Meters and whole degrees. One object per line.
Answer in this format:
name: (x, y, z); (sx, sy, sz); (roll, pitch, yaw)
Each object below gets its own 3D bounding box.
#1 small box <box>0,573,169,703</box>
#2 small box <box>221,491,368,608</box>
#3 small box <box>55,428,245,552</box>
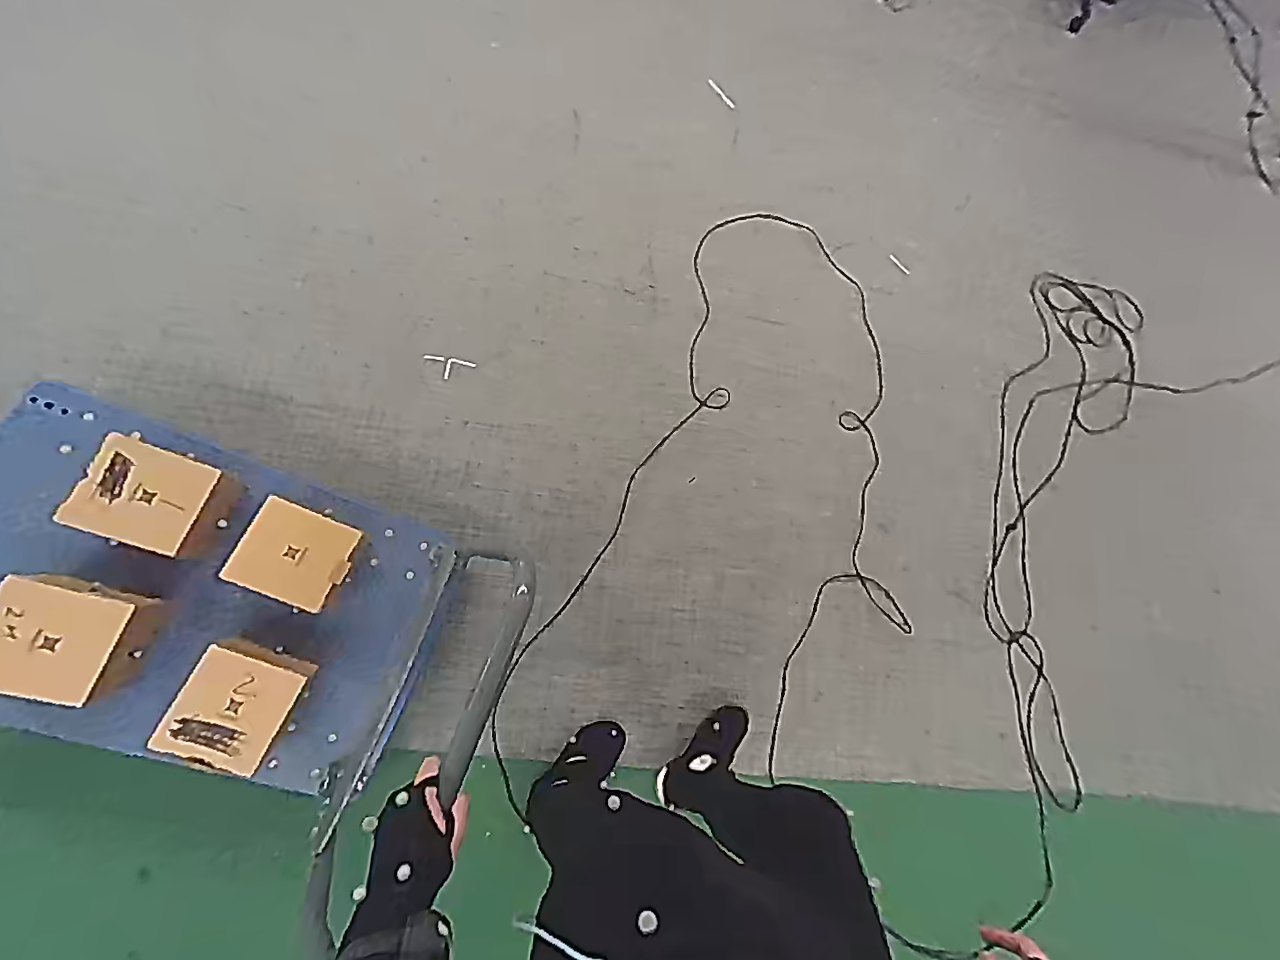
small box: (-0.958, 0.259, 0.914); (0.179, 0.176, 0.168); (22, 72, -19)
small box: (-0.663, 0.141, 1.064); (0.179, 0.176, 0.168); (28, 72, -17)
small box: (-0.874, 0.030, 0.990); (0.179, 0.176, 0.168); (25, 73, -18)
